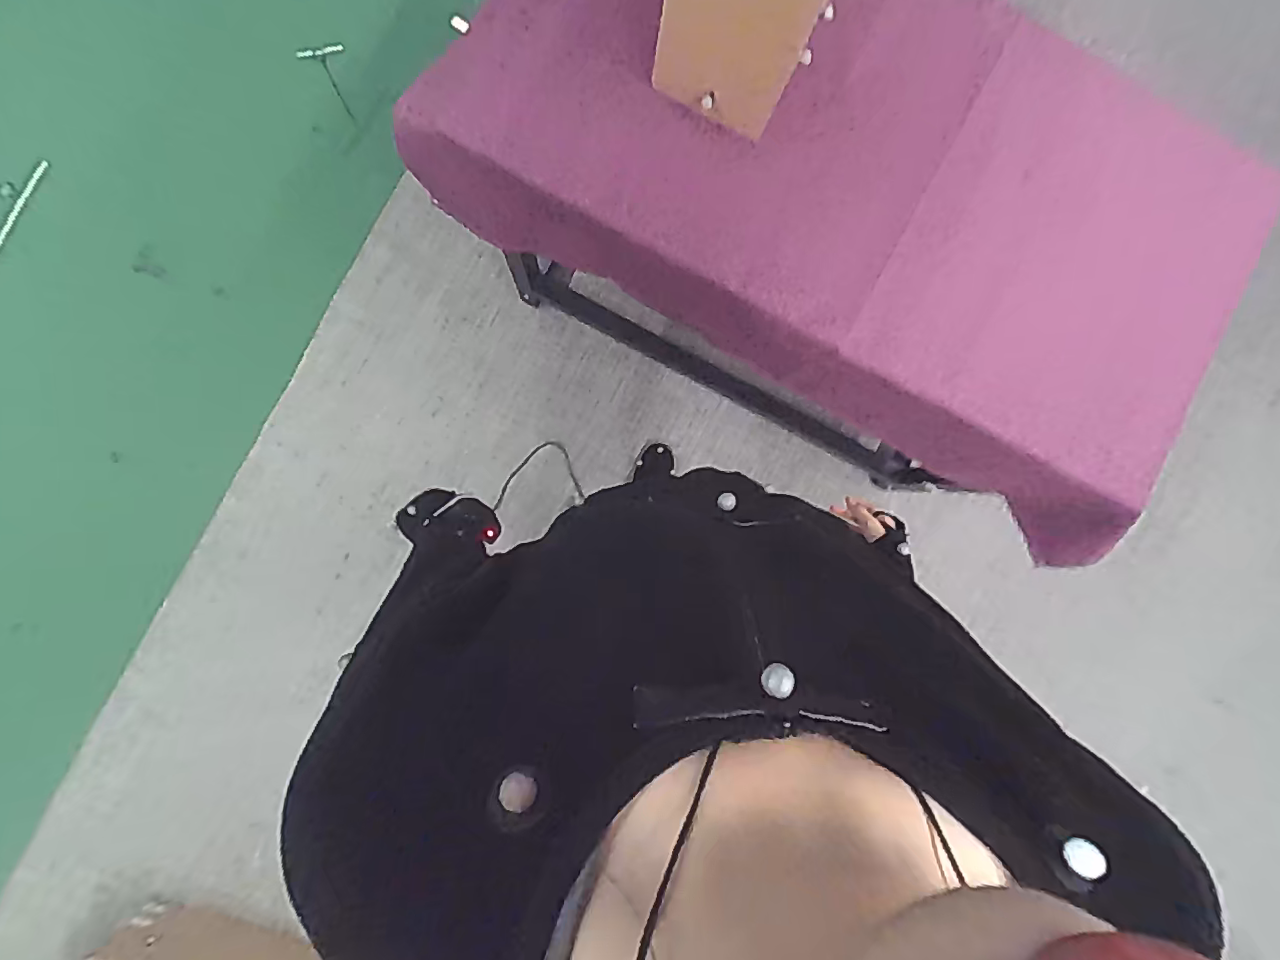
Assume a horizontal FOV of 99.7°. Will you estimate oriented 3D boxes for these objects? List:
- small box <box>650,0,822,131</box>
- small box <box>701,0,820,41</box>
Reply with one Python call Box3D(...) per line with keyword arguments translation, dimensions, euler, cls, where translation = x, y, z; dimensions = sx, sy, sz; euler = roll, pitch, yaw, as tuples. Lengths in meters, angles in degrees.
Box3D(translation=(0.128, -0.607, 0.711), dimensions=(0.179, 0.176, 0.168), euler=(25, 88, -5), cls="small box")
Box3D(translation=(0.143, -0.605, 0.547), dimensions=(0.179, 0.176, 0.168), euler=(25, 88, -4), cls="small box")
